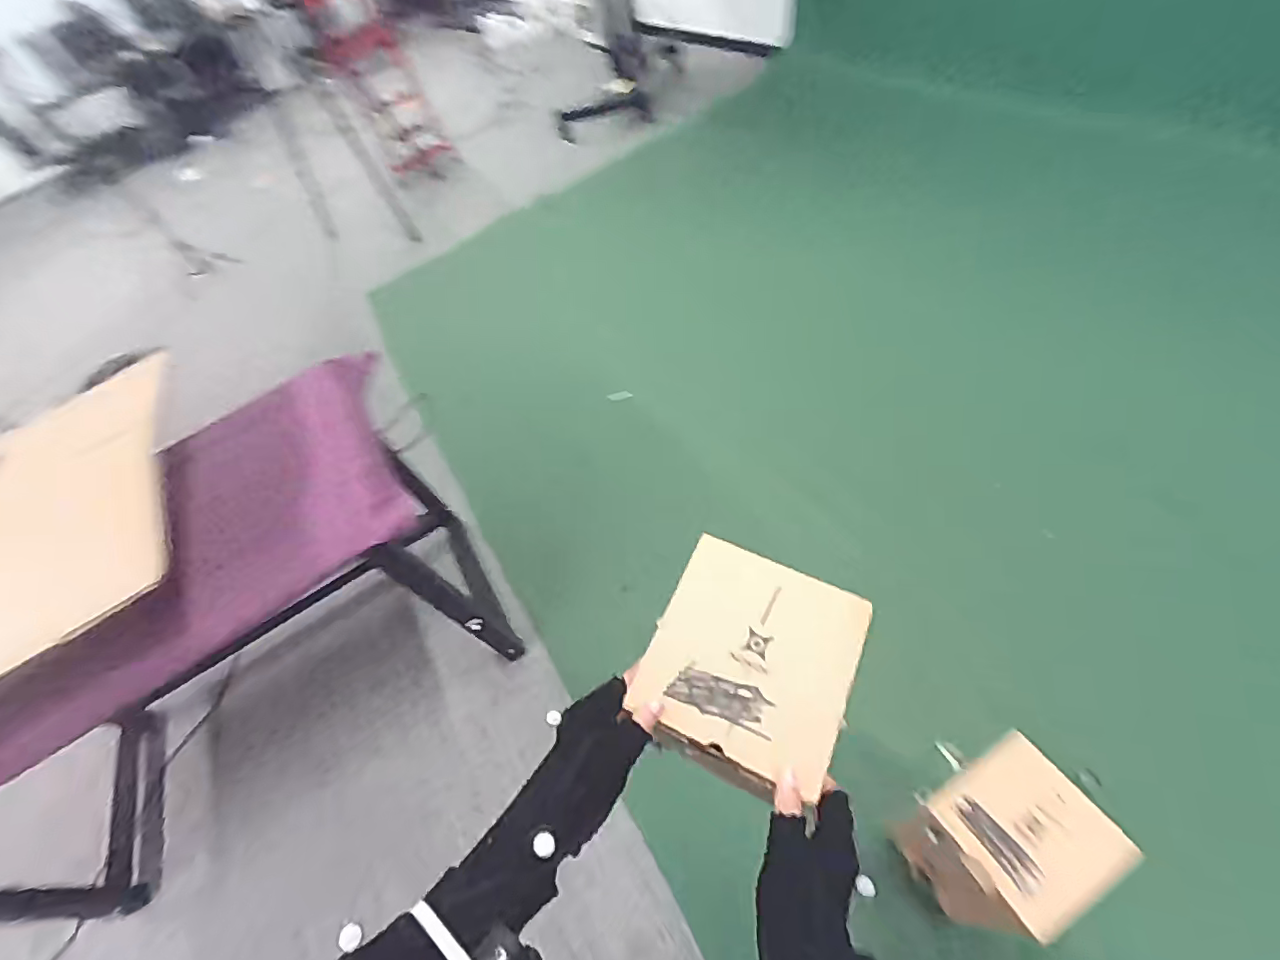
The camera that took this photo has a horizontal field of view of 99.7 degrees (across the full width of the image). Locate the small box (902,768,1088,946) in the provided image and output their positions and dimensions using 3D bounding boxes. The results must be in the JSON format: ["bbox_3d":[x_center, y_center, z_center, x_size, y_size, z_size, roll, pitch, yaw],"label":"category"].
[{"bbox_3d":[0.560,0.607,0.883,0.179,0.176,0.168,-33,52,-8],"label":"small box"}]

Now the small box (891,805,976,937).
[{"bbox_3d":[0.598,0.703,1.009,0.179,0.176,0.168,-31,51,-7],"label":"small box"}]
